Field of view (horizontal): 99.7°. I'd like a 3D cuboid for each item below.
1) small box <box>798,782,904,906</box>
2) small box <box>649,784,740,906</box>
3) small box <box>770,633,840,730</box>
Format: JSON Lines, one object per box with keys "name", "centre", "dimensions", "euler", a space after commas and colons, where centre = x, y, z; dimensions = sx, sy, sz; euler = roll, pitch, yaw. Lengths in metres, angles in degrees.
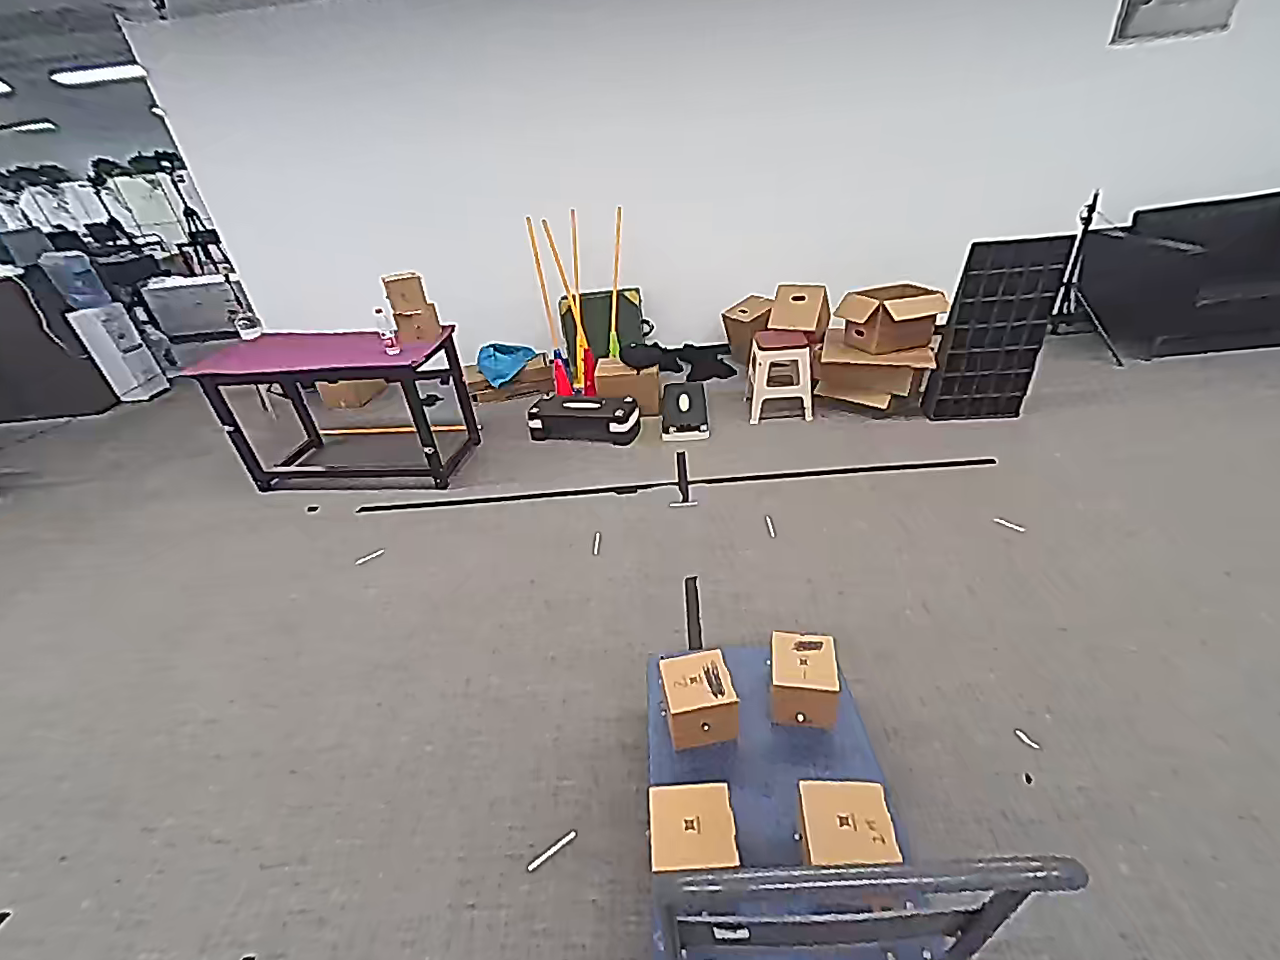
{"name": "small box", "centre": [0.432, 0.767, 1.140], "dimensions": [0.179, 0.176, 0.168], "euler": [-2, 33, 7]}
{"name": "small box", "centre": [0.115, 0.787, 1.163], "dimensions": [0.179, 0.176, 0.168], "euler": [-4, 32, 1]}
{"name": "small box", "centre": [0.442, 0.547, 1.477], "dimensions": [0.168, 0.176, 0.179], "euler": [1, 34, 12]}
